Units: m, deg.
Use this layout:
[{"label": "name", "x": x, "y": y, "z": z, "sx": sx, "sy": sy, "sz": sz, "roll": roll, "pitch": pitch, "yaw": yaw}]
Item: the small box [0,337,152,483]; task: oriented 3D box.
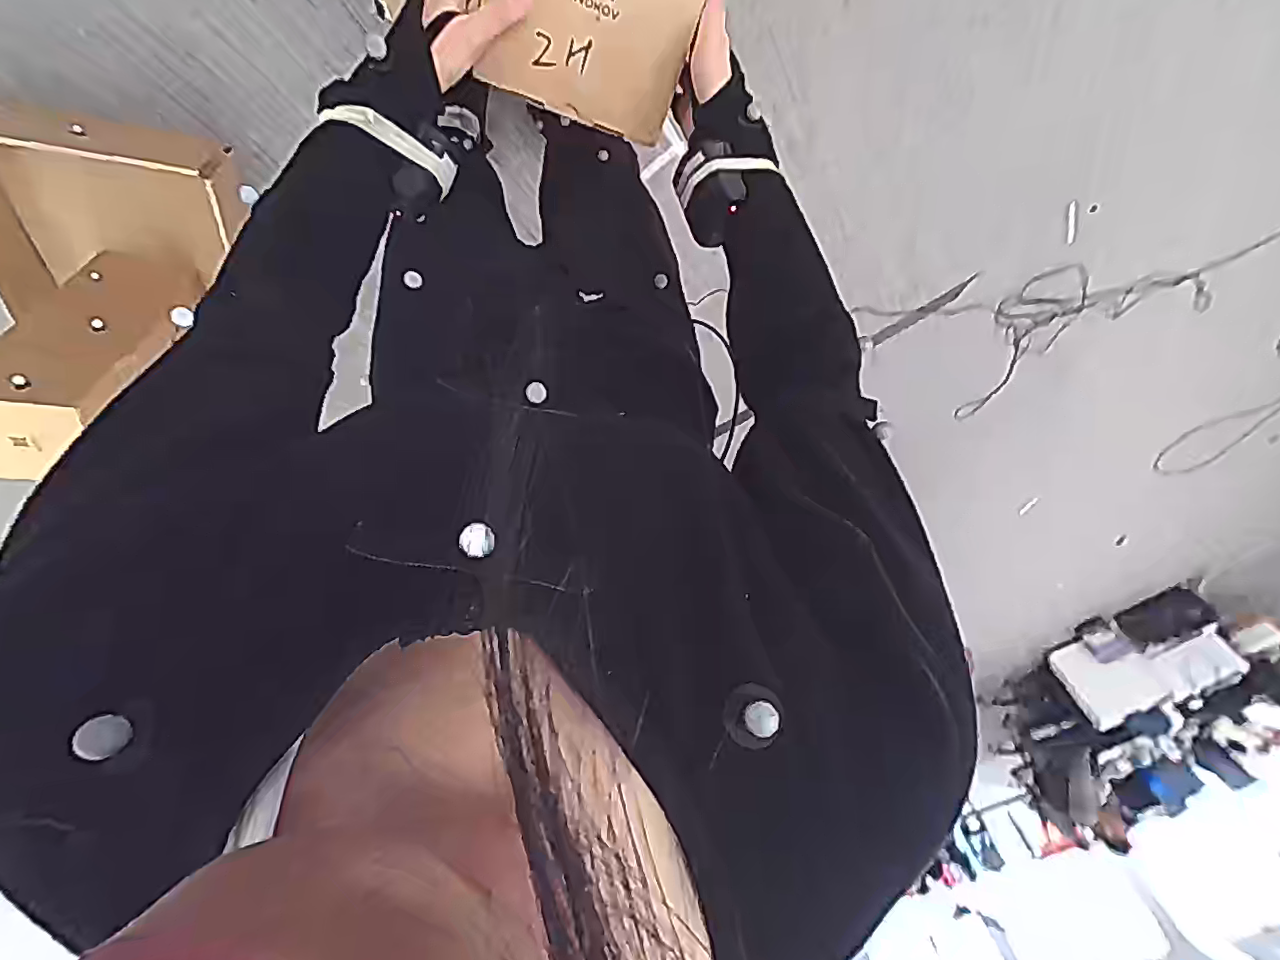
[{"label": "small box", "x": -0.967, "y": -0.116, "z": 0.892, "sx": 0.179, "sy": 0.176, "sz": 0.168, "roll": 4, "pitch": 132, "yaw": -20}]

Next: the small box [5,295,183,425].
[{"label": "small box", "x": -0.995, "y": -0.224, "z": 1.011, "sx": 0.179, "sy": 0.176, "sz": 0.168, "roll": 5, "pitch": 132, "yaw": -21}]

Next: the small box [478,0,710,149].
[{"label": "small box", "x": -0.044, "y": -0.431, "z": 0.469, "sx": 0.168, "sy": 0.176, "sz": 0.179, "roll": 8, "pitch": 131, "yaw": -23}]
